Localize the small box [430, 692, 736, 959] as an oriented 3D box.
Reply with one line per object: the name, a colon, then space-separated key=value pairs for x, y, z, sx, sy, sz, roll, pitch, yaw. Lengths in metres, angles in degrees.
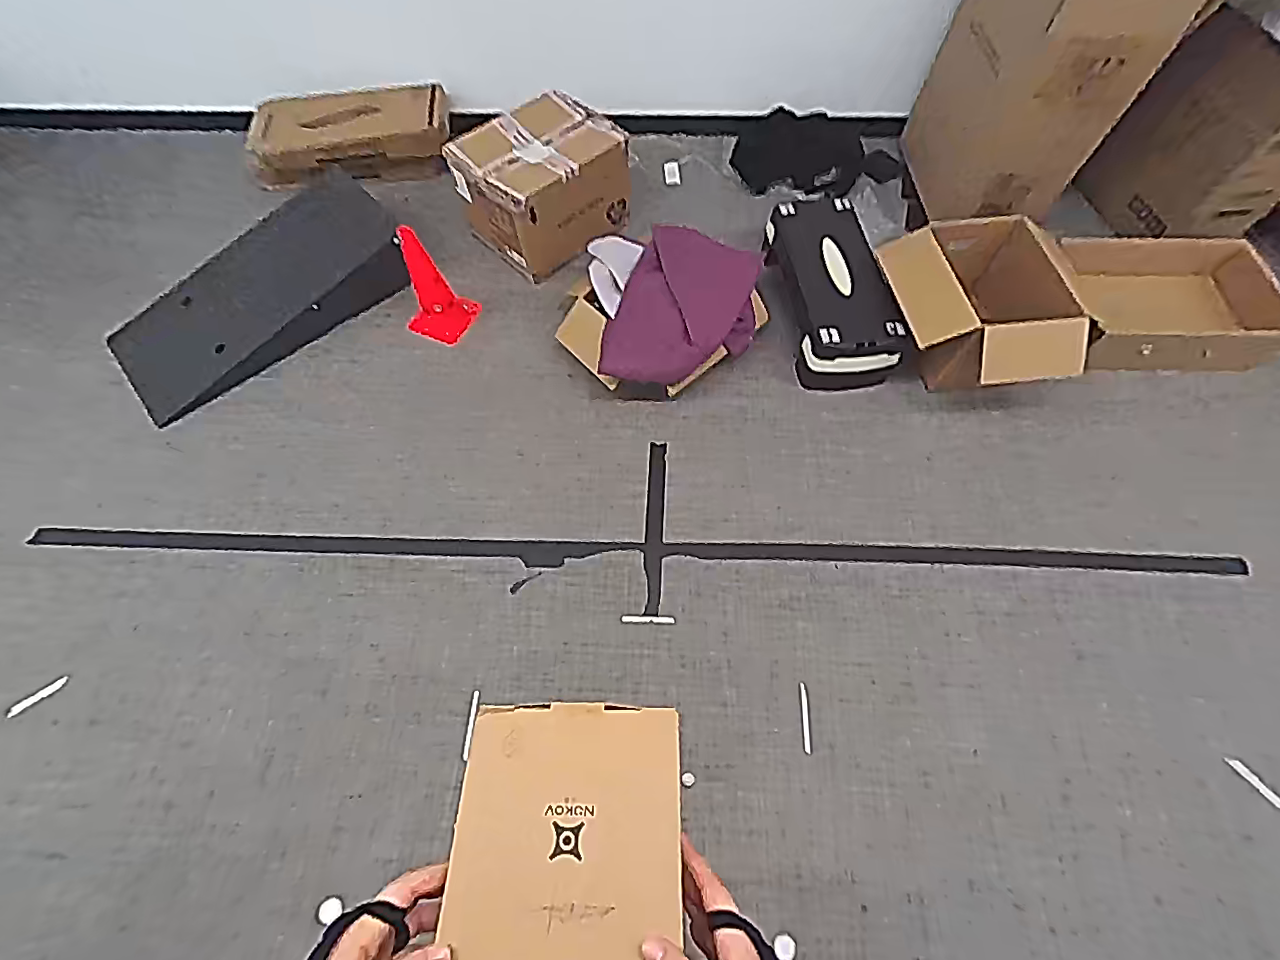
small box: x=-0.029 y=0.263 z=0.381 sx=0.168 sy=0.176 sz=0.179 roll=0 pitch=55 yaw=1
